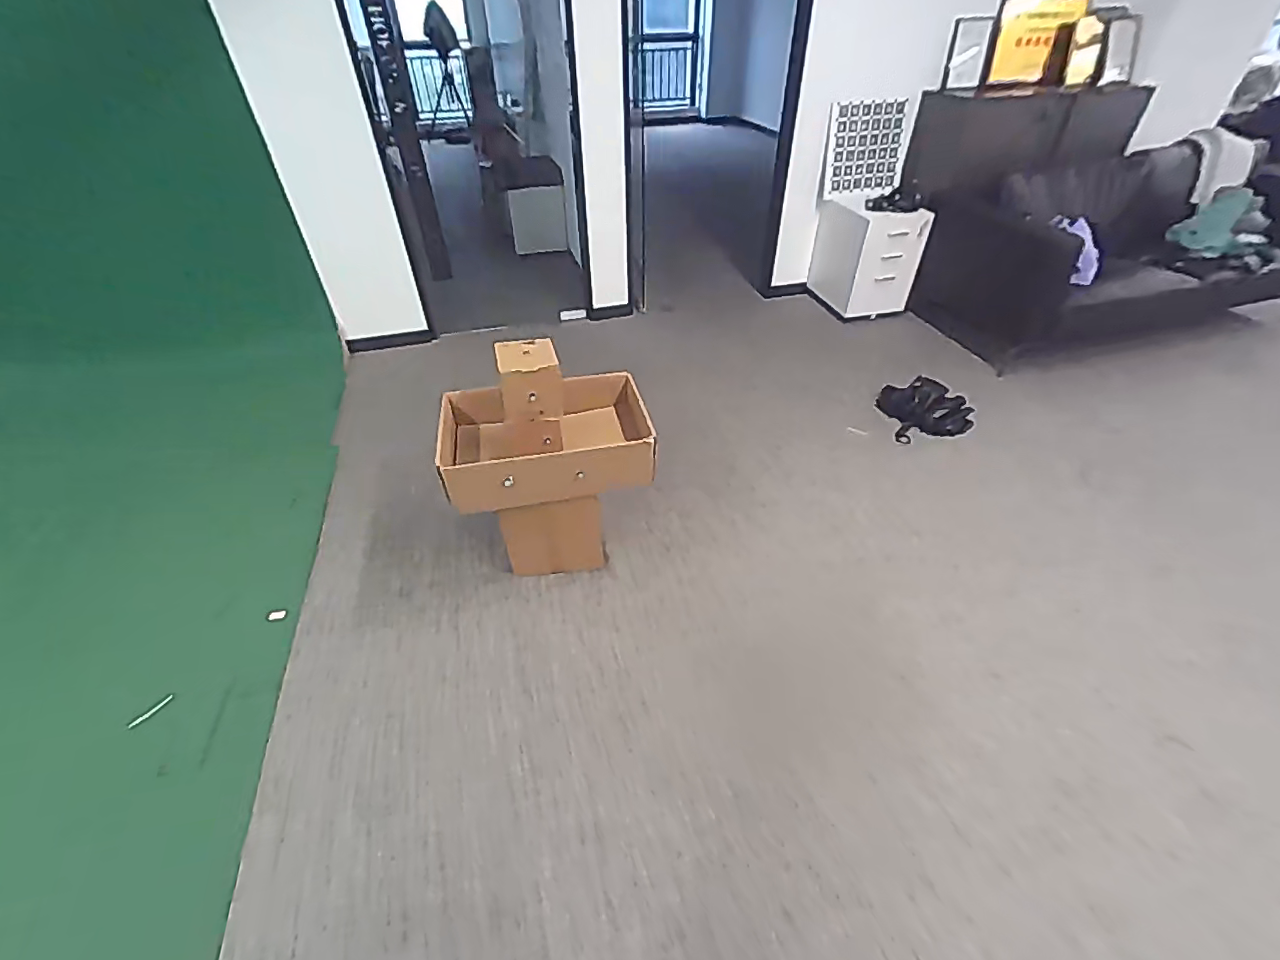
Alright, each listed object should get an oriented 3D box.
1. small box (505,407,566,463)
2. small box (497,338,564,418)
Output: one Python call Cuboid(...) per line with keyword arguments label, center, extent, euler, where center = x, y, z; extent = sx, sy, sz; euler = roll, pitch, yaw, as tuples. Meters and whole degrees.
Cuboid(label="small box", center=(-0.325, -0.164, 1.687), extent=(0.168, 0.176, 0.179), euler=(-7, 39, -11))
Cuboid(label="small box", center=(-0.320, -0.294, 1.586), extent=(0.168, 0.176, 0.179), euler=(-9, 42, -13))
